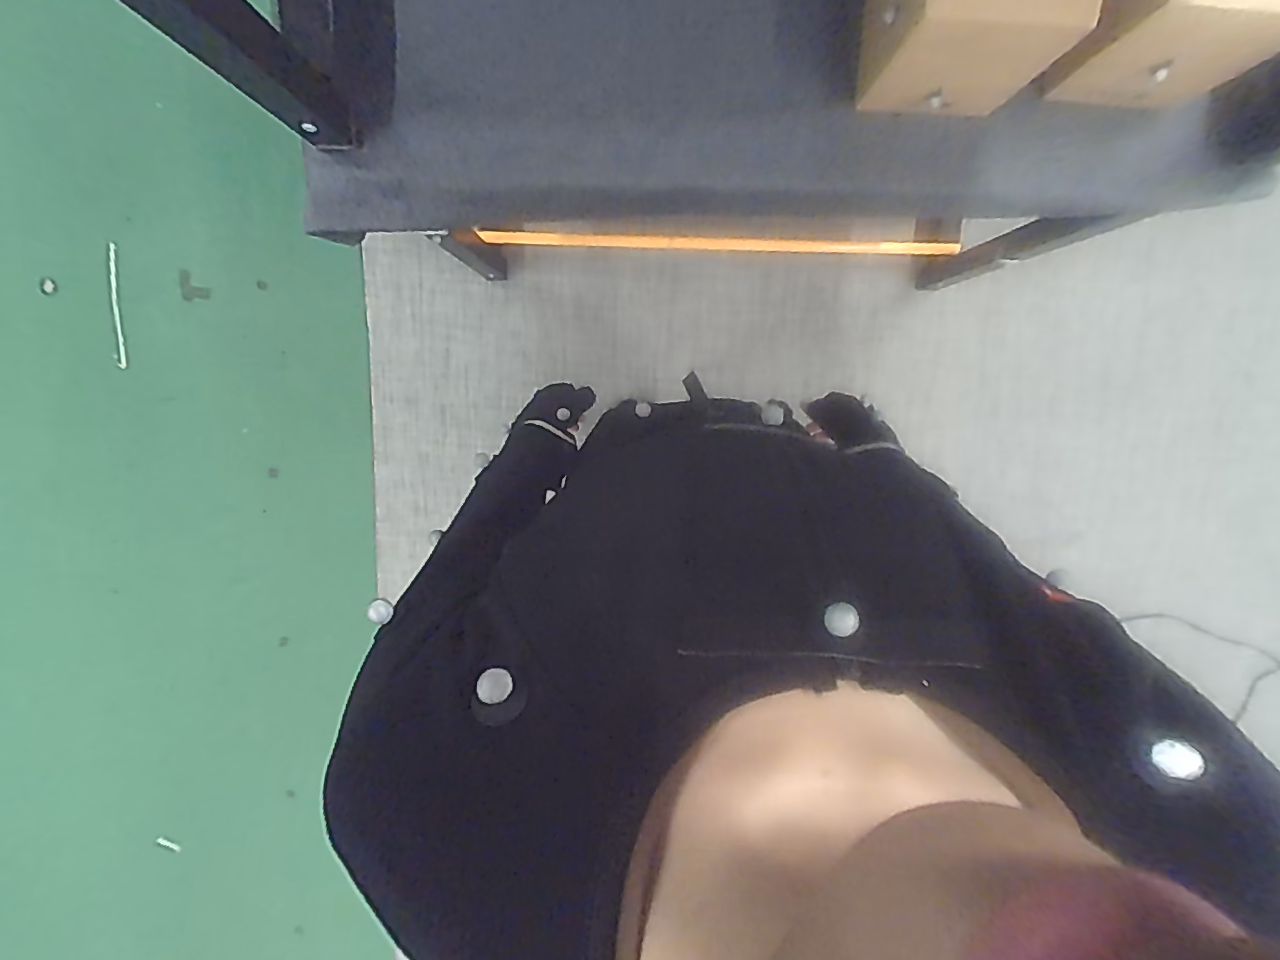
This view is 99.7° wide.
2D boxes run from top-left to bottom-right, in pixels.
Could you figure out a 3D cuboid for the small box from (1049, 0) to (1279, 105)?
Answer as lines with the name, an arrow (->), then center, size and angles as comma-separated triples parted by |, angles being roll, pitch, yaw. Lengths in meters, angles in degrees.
small box -> 0.581, -0.535, 0.572 | 0.168, 0.176, 0.179 | 5, 99, -1
